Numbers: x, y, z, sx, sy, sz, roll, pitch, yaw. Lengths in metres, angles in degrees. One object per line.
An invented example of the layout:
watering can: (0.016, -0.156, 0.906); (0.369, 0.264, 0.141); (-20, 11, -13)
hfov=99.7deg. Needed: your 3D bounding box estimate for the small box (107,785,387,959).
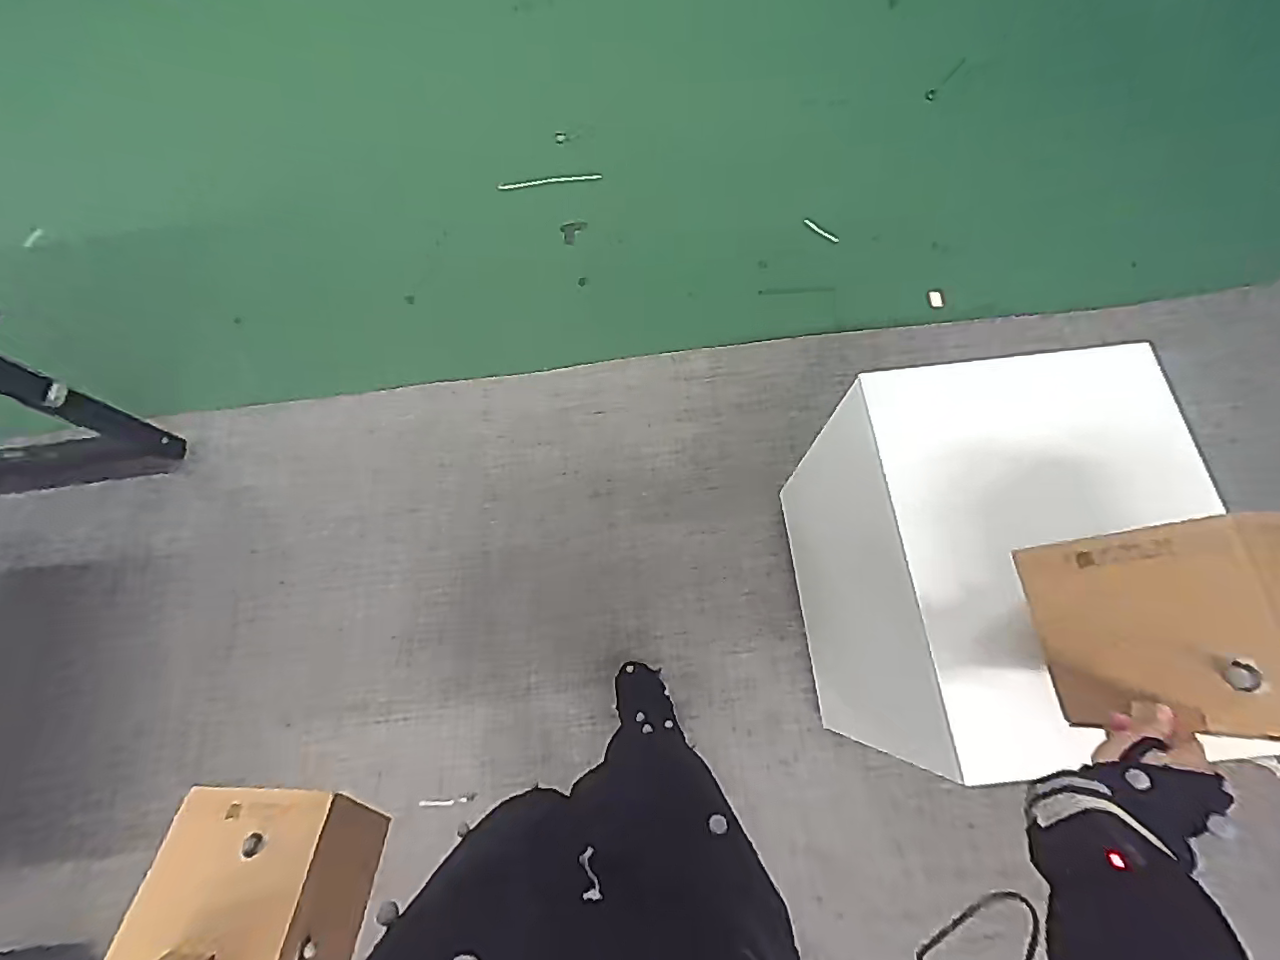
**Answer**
small box: (-0.416, 0.460, 0.609); (0.168, 0.179, 0.176); (0, 48, 2)
